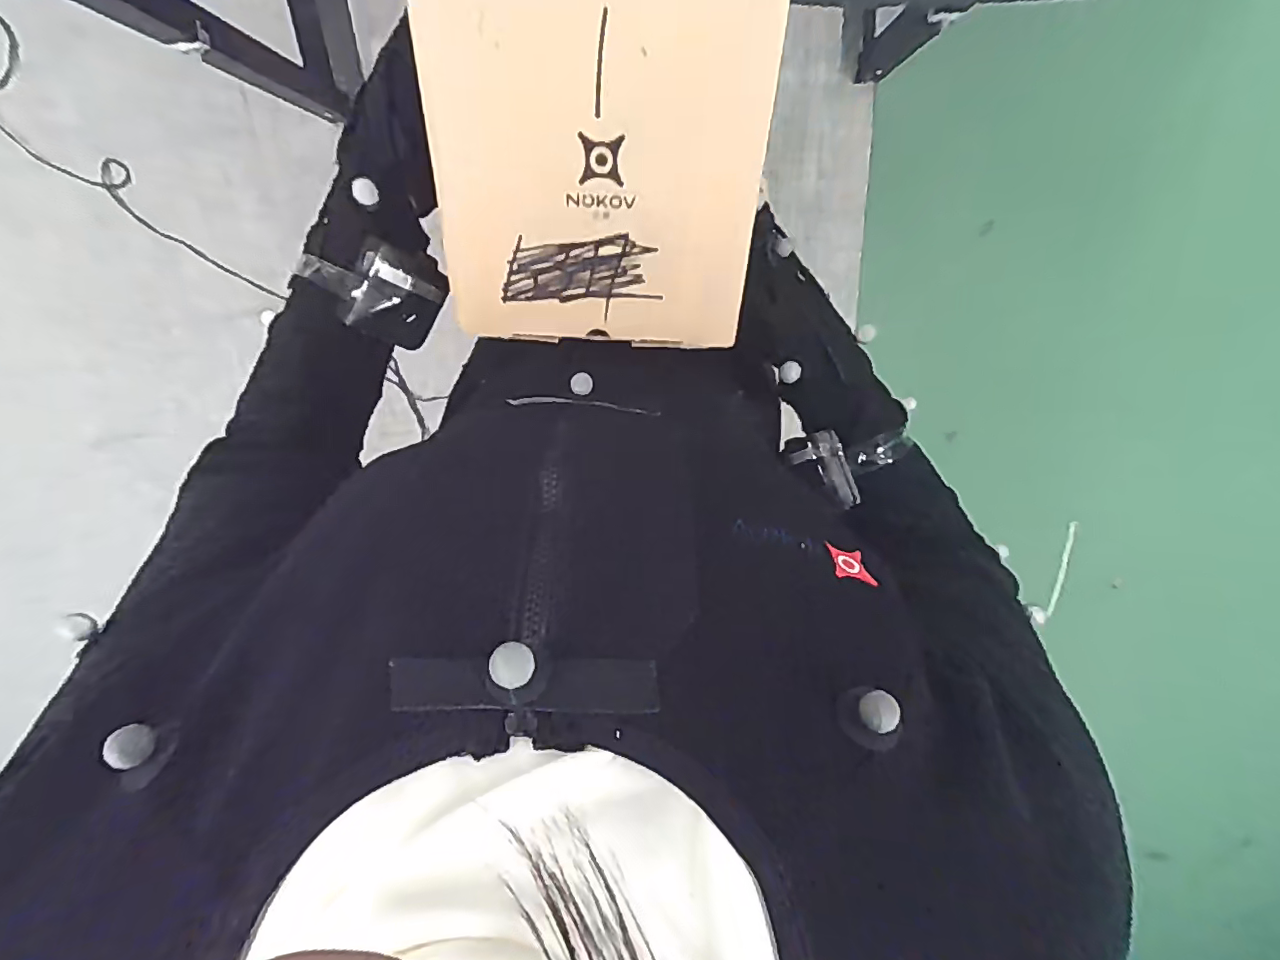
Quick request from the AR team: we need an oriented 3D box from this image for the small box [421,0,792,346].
[{"bbox_3d":[-0.021,-0.206,0.344,0.168,0.176,0.179,3,127,-3],"label":"small box"}]
